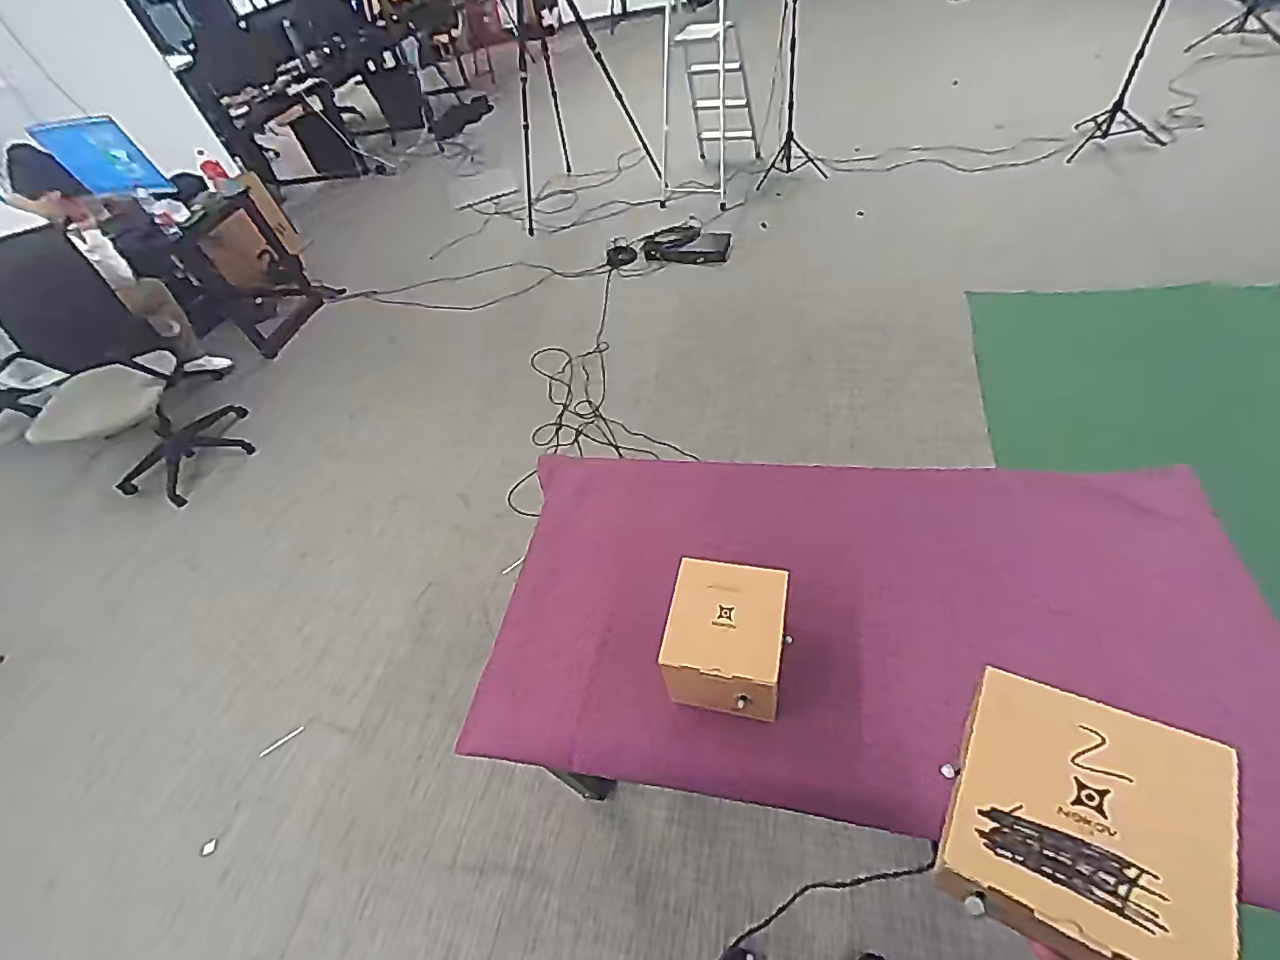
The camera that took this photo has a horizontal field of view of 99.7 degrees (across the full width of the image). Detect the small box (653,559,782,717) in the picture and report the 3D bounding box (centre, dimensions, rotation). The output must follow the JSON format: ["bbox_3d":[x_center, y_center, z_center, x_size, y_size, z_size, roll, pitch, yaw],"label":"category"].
[{"bbox_3d":[0.130,0.251,0.851,0.168,0.176,0.179,6,52,16],"label":"small box"}]
